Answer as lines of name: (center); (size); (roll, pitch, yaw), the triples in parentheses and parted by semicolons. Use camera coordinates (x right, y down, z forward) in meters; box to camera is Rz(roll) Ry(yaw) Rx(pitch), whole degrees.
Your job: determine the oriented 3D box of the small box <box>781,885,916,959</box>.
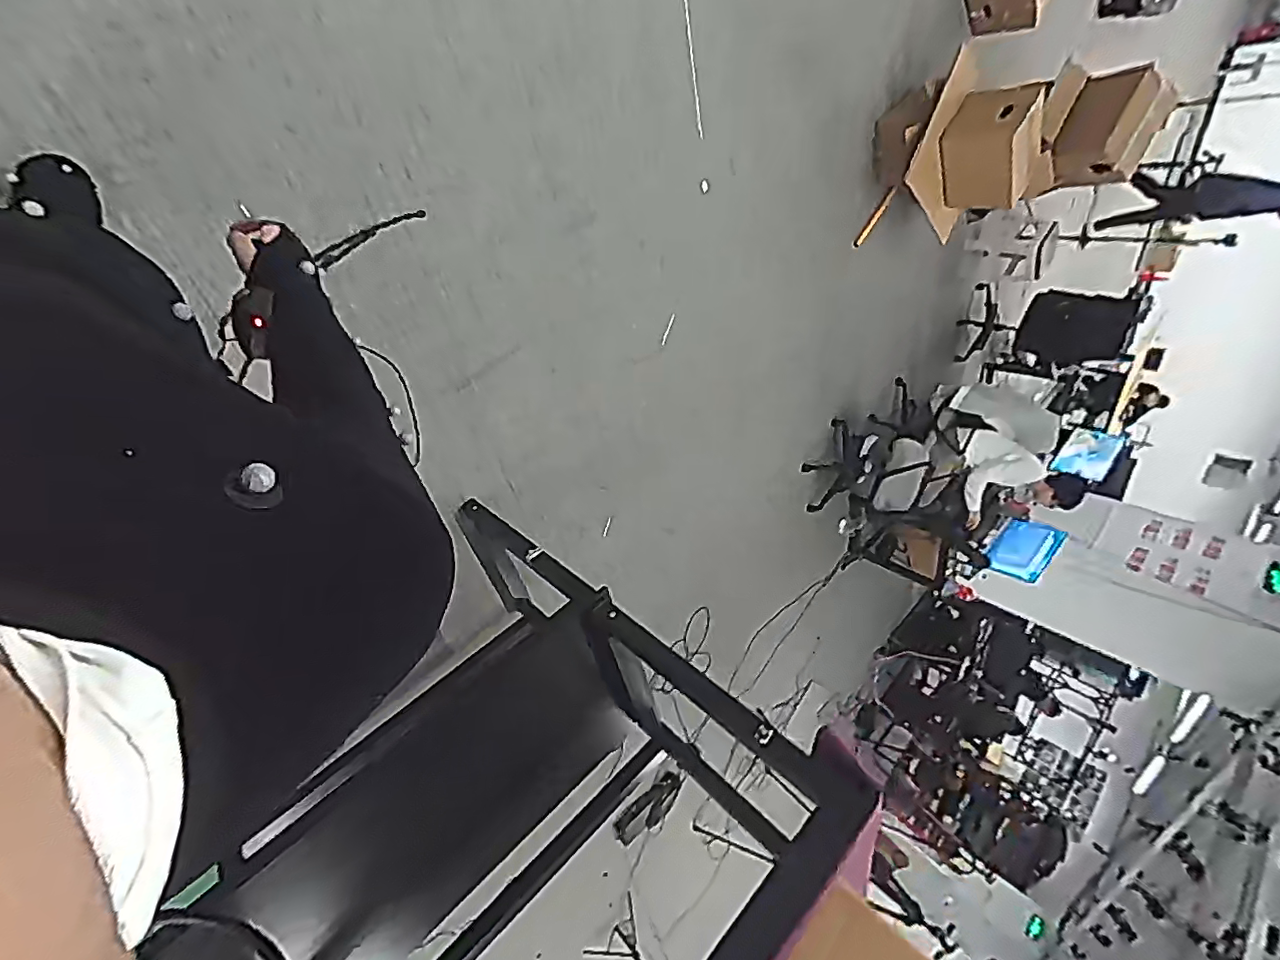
small box: (0.327, 0.789, 0.844); (0.179, 0.176, 0.168); (-37, 132, -24)
